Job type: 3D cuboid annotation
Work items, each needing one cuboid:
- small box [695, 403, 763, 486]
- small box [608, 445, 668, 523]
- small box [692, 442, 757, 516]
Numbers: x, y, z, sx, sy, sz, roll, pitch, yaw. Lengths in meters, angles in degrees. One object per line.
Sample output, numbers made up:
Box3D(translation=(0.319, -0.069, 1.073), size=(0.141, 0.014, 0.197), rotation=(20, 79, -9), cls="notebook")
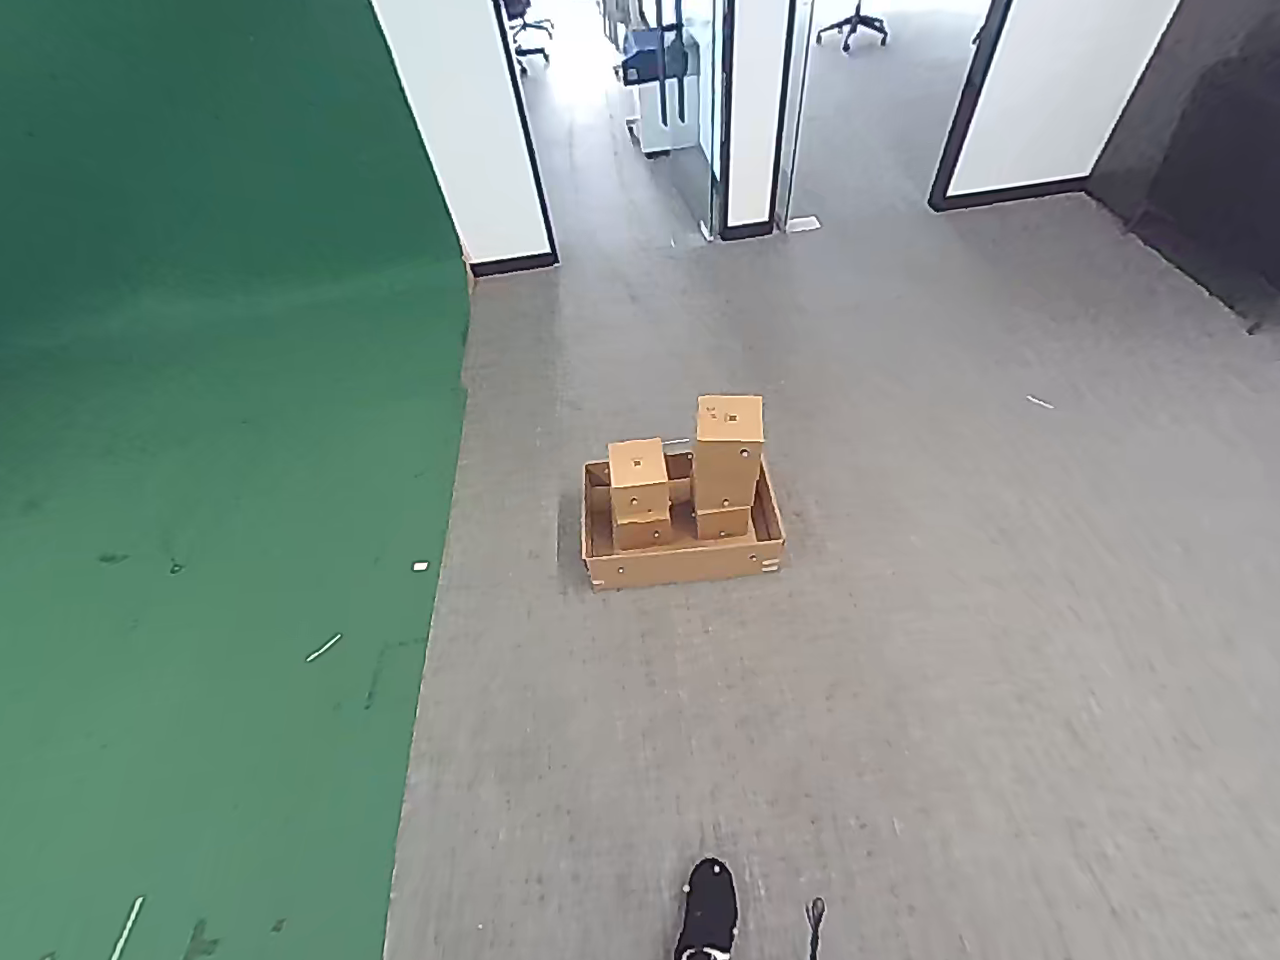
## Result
Box3D(translation=(0.246, -0.096, 1.504), size=(0.179, 0.176, 0.168), rotation=(2, 53, 9), cls="small box")
Box3D(translation=(-0.005, 0.019, 1.657), size=(0.168, 0.176, 0.179), rotation=(-7, 51, -2), cls="small box")
Box3D(translation=(0.250, -0.004, 1.642), size=(0.179, 0.176, 0.168), rotation=(-4, 52, 3), cls="small box")
